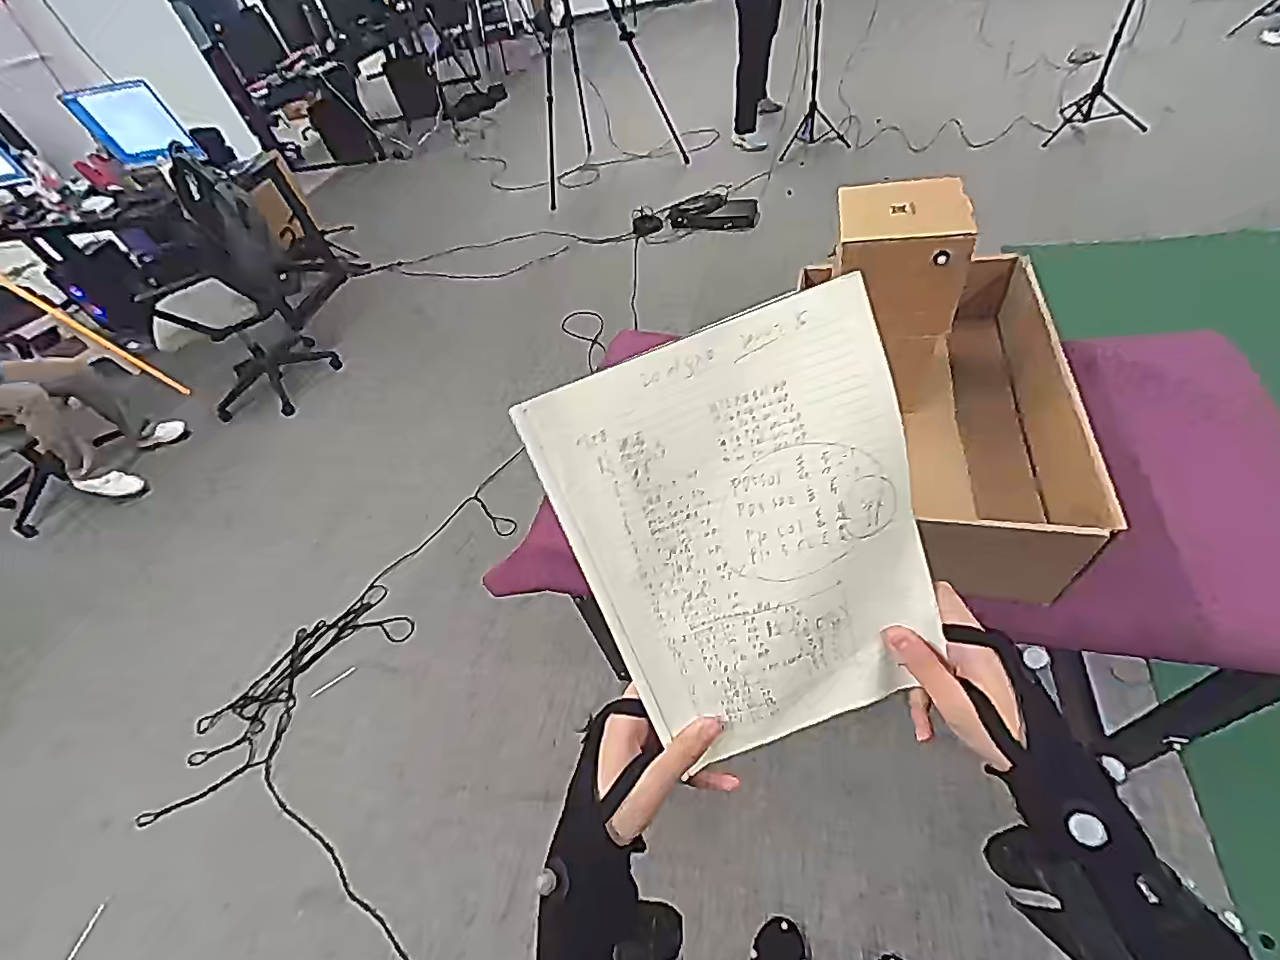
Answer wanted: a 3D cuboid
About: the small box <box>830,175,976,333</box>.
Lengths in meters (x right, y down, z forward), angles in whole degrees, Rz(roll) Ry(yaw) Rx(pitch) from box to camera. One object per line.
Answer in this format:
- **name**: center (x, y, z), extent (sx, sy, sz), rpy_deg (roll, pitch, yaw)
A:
- **small box**: center (0.393, -0.344, 0.844), extent (0.179, 0.176, 0.168), rpy_deg (2, 53, 15)
